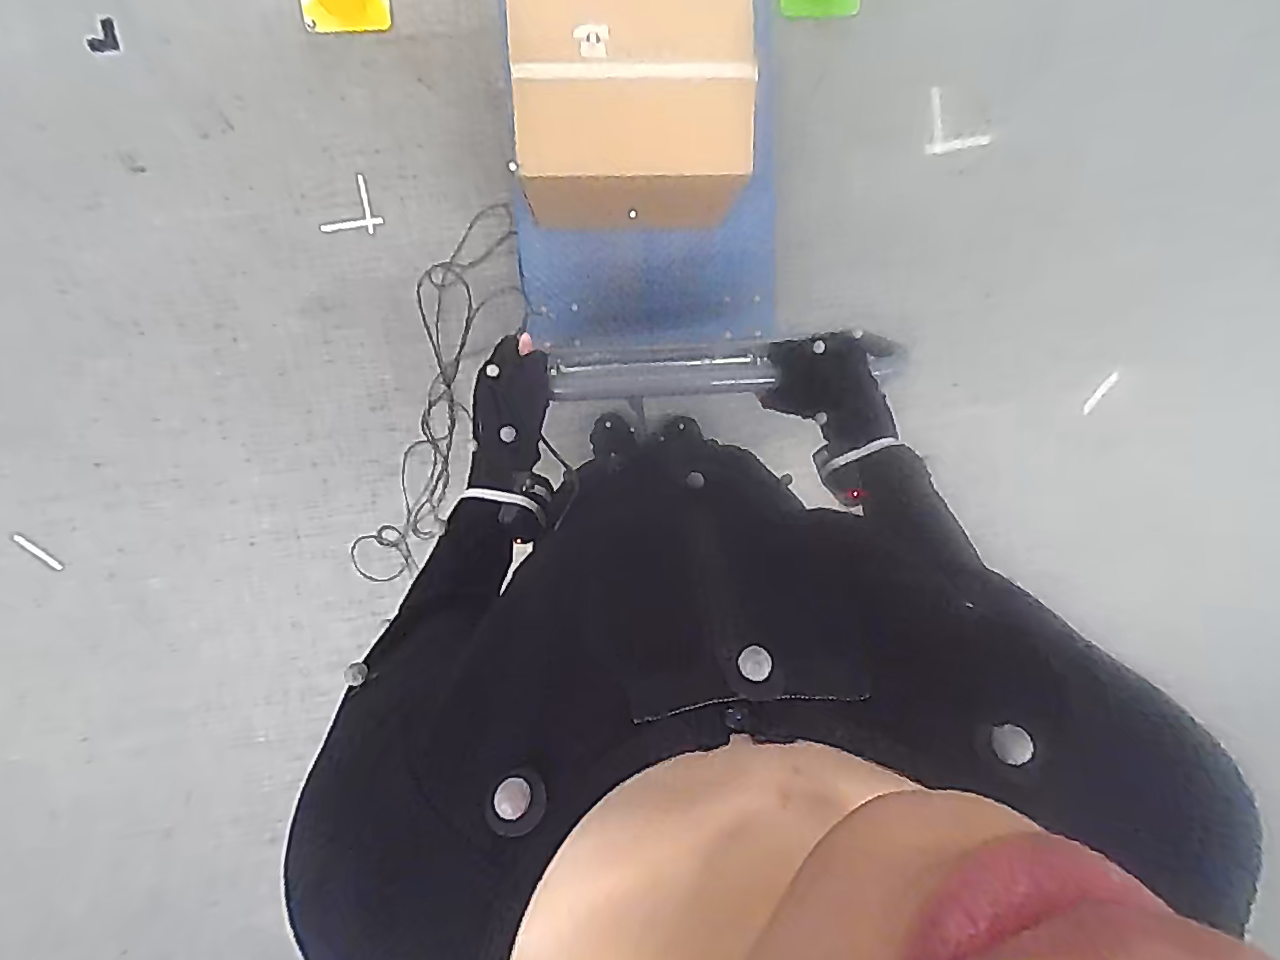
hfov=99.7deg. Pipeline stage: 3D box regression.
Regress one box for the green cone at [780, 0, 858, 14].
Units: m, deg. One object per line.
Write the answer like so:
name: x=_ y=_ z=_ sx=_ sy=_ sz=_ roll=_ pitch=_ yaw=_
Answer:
green cone: x=0.447 y=-1.222 z=1.146 sx=0.202 sy=0.368 sz=0.200 roll=-4 pitch=99 yaw=-4

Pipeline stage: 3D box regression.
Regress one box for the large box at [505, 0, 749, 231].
large box: x=-0.019 y=-0.691 z=1.052 sx=0.408 sy=0.320 sz=0.320 roll=-2 pitch=99 yaw=-2
